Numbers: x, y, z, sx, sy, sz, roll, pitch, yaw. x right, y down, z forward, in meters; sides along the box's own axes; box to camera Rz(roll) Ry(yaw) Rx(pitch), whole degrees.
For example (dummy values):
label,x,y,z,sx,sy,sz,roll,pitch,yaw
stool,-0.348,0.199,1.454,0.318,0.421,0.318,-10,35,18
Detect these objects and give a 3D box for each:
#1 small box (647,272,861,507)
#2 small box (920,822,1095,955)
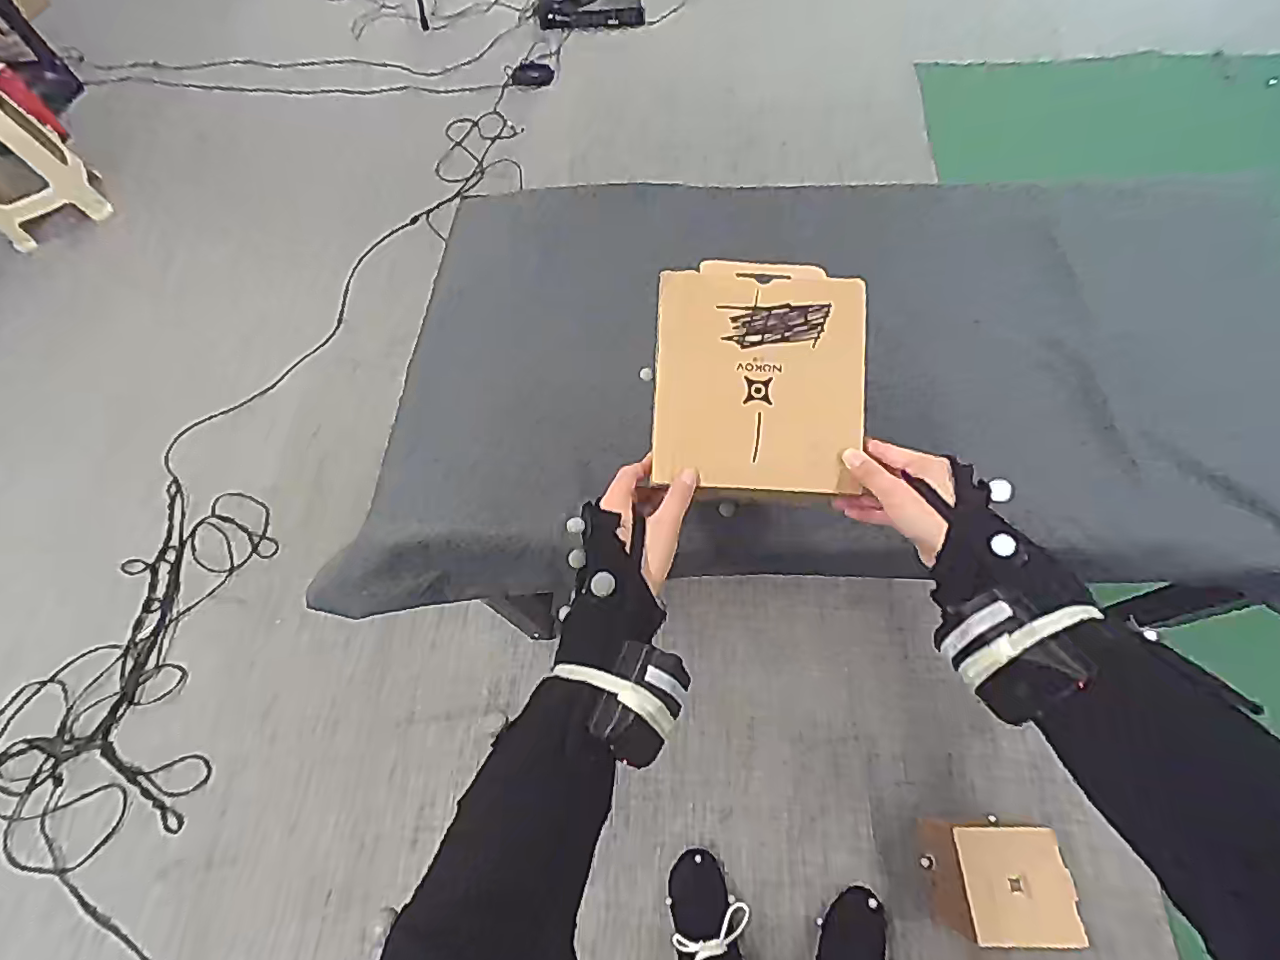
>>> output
label,x,y,z,sx,sy,sz,roll,pitch,yaw
small box,0.092,-0.070,0.504,0.168,0.176,0.179,2,85,2
small box,0.634,0.711,0.959,0.179,0.176,0.168,-3,62,4
